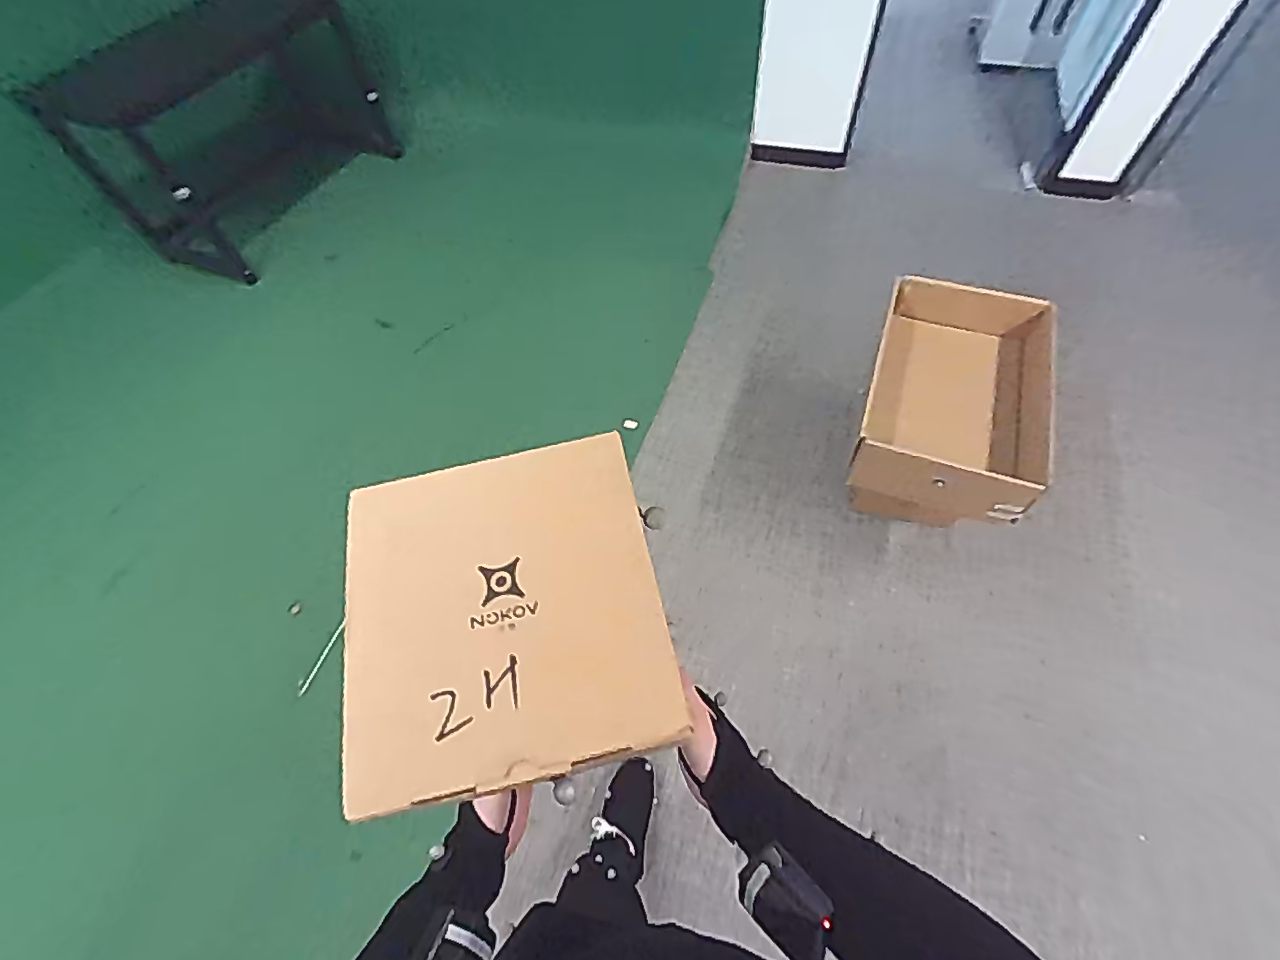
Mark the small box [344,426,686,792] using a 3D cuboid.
[{"bbox_3d":[-0.069,0.093,0.364,0.168,0.176,0.179,-13,63,-2],"label":"small box"}]
